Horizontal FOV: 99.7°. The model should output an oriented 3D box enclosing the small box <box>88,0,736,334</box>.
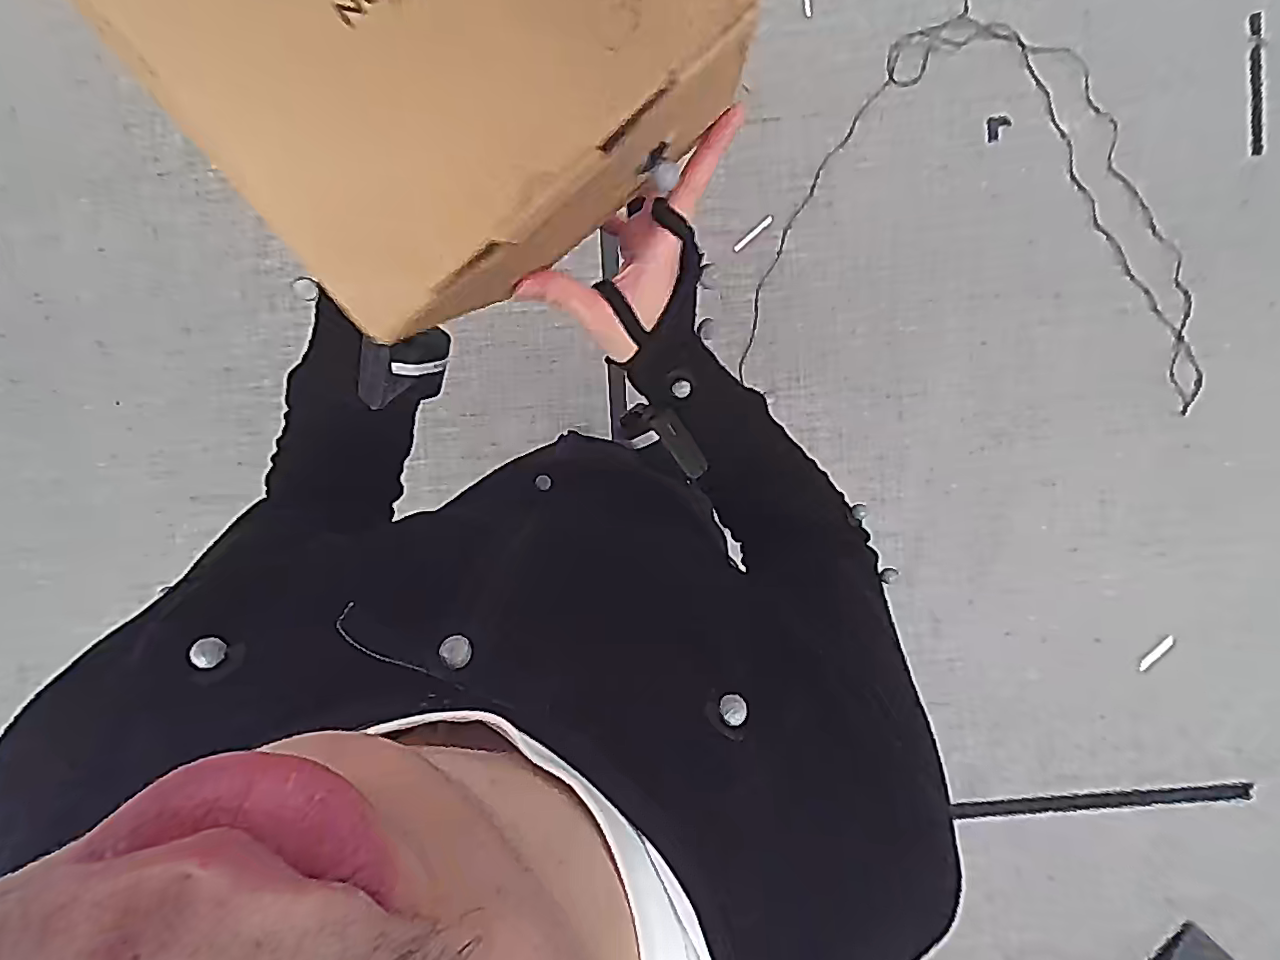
[{"bbox_3d":[-0.077,-0.196,0.236,0.168,0.176,0.179,-34,108,18],"label":"small box"}]
